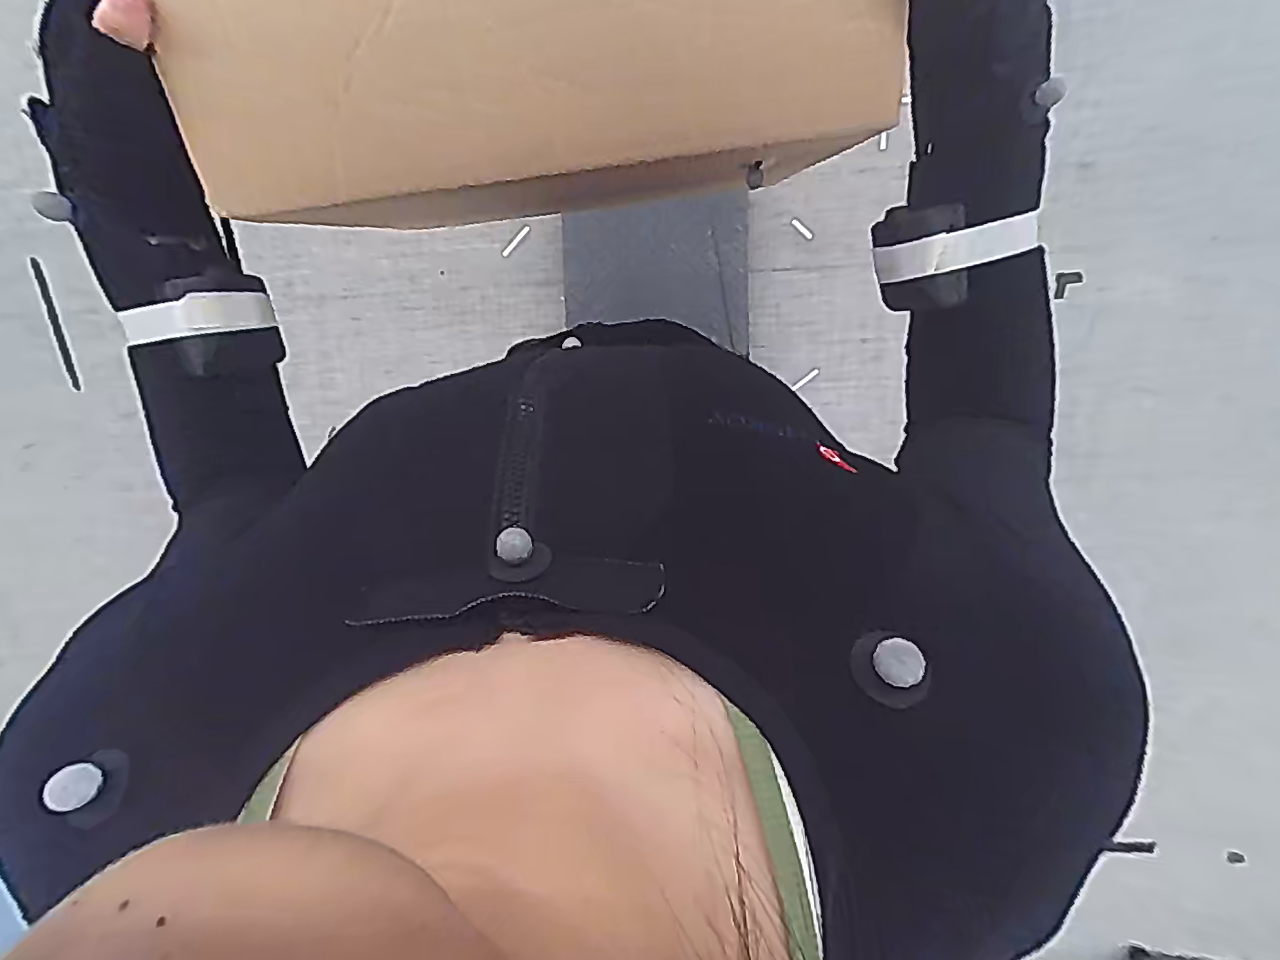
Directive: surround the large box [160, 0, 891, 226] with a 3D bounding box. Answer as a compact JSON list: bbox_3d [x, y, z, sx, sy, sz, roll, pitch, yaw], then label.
[{"bbox_3d":[-0.068,-0.385,0.405,0.408,0.320,0.320,-6,113,3],"label":"large box"}]
